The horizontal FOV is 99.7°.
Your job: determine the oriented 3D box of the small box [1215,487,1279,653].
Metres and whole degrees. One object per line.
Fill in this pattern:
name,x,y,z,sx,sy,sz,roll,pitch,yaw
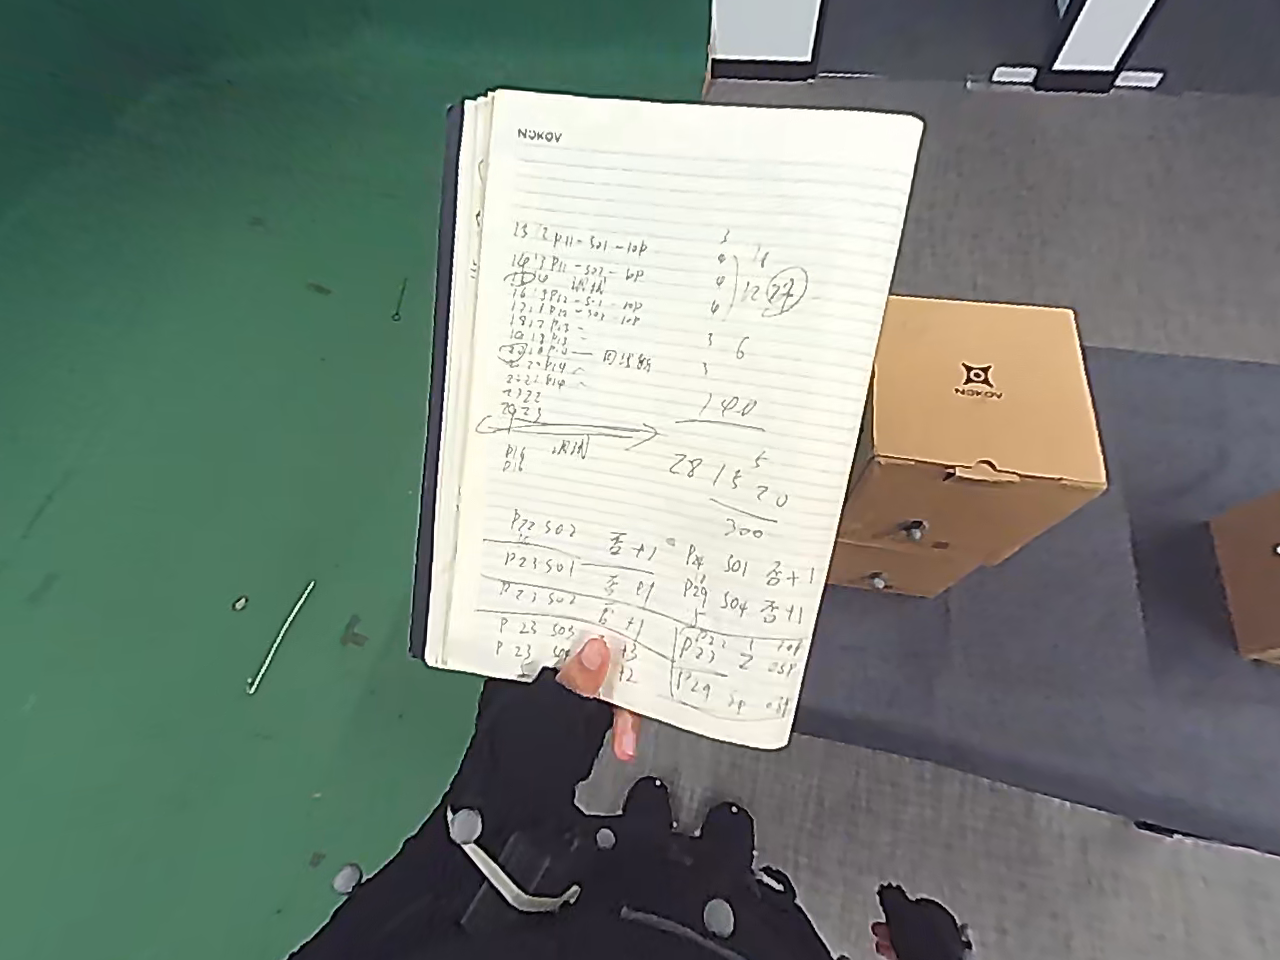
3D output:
small box,0.784,0.100,0.572,0.168,0.176,0.179,10,63,11

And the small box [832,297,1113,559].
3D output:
small box,0.287,-0.044,0.514,0.168,0.176,0.179,7,63,9

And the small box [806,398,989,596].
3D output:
small box,0.301,0.025,0.661,0.168,0.176,0.179,6,63,9
